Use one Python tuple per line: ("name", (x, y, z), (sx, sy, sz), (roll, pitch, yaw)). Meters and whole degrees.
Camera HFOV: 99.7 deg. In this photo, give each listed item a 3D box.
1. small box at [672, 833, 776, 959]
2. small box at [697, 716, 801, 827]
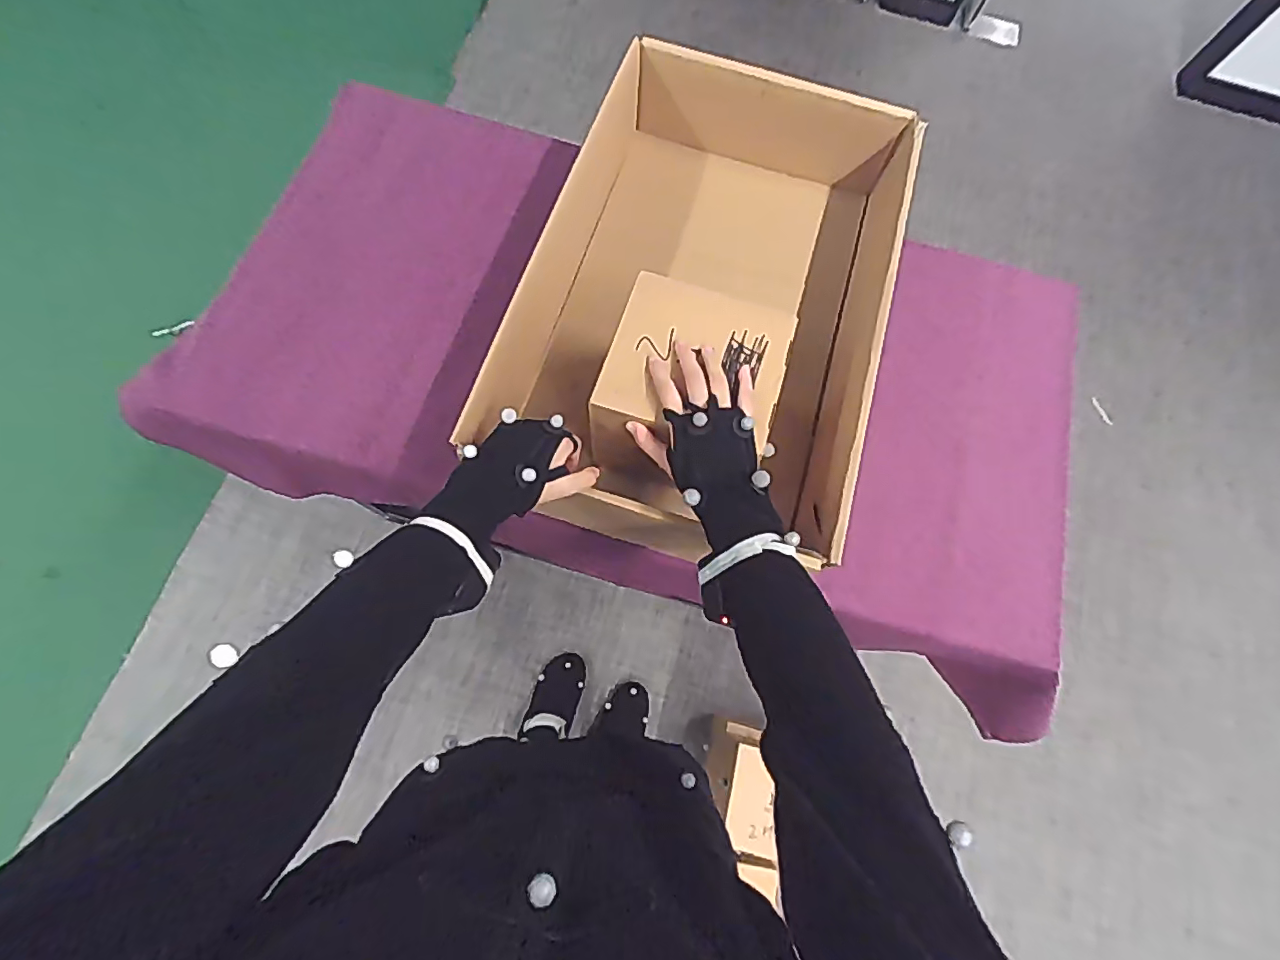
("small box", (0.171, 0.877, 1.147), (0.179, 0.176, 0.168), (12, 72, -1))
("small box", (0.240, 0.646, 1.222), (0.179, 0.176, 0.168), (16, 73, 2))
